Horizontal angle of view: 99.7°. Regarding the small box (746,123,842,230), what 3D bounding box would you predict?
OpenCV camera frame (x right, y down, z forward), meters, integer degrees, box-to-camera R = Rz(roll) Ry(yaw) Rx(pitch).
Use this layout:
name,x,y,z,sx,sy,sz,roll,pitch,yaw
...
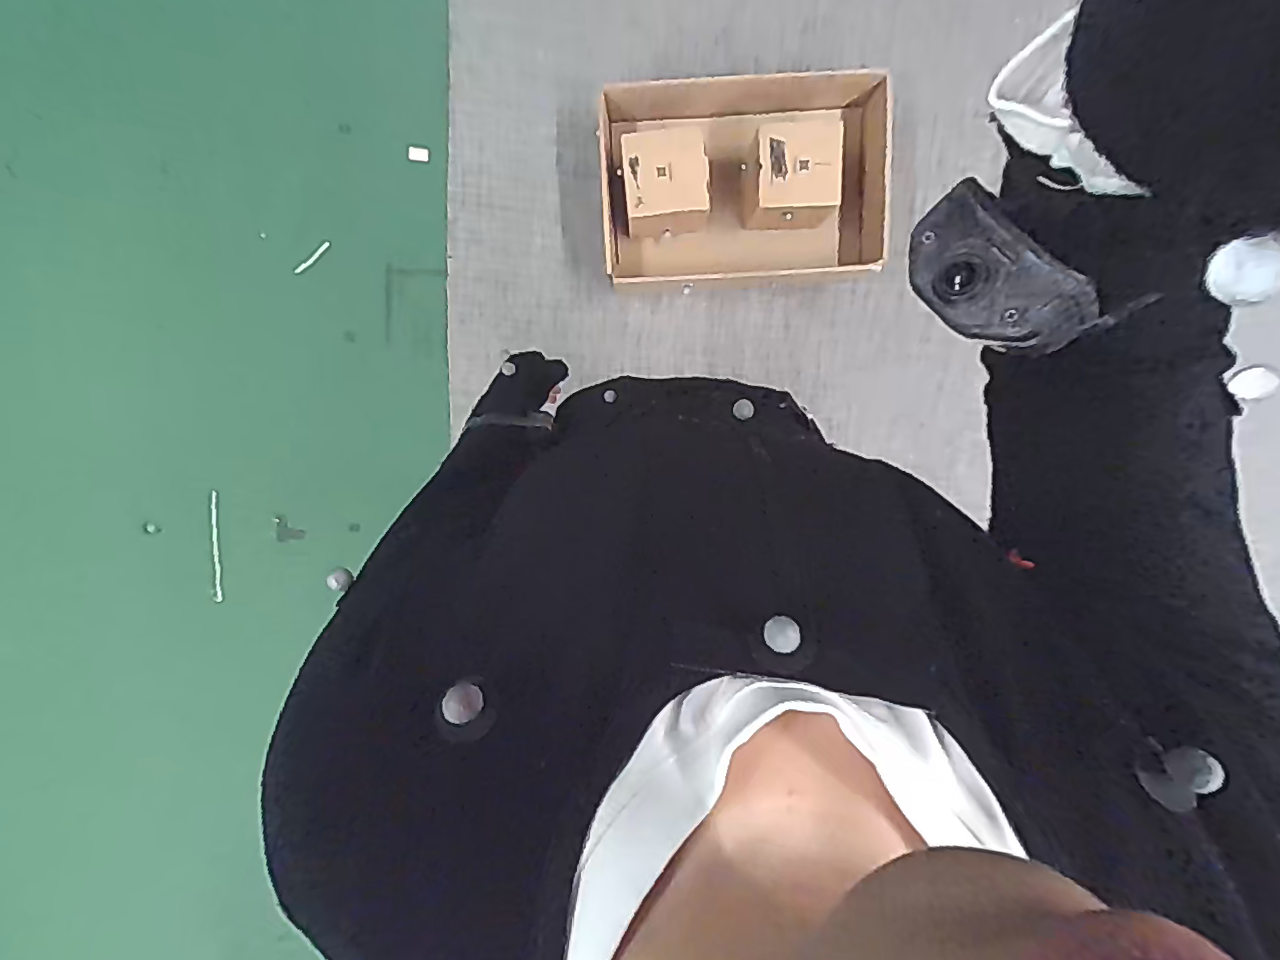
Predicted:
name,x,y,z,sx,sy,sz,roll,pitch,yaw
small box,0.336,-0.669,1.211,0.179,0.176,0.168,-1,100,2

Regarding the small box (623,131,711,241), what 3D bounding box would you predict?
name,x,y,z,sx,sy,sz,roll,pitch,yaw
small box,0.055,-0.653,1.217,0.179,0.176,0.168,-6,99,0
